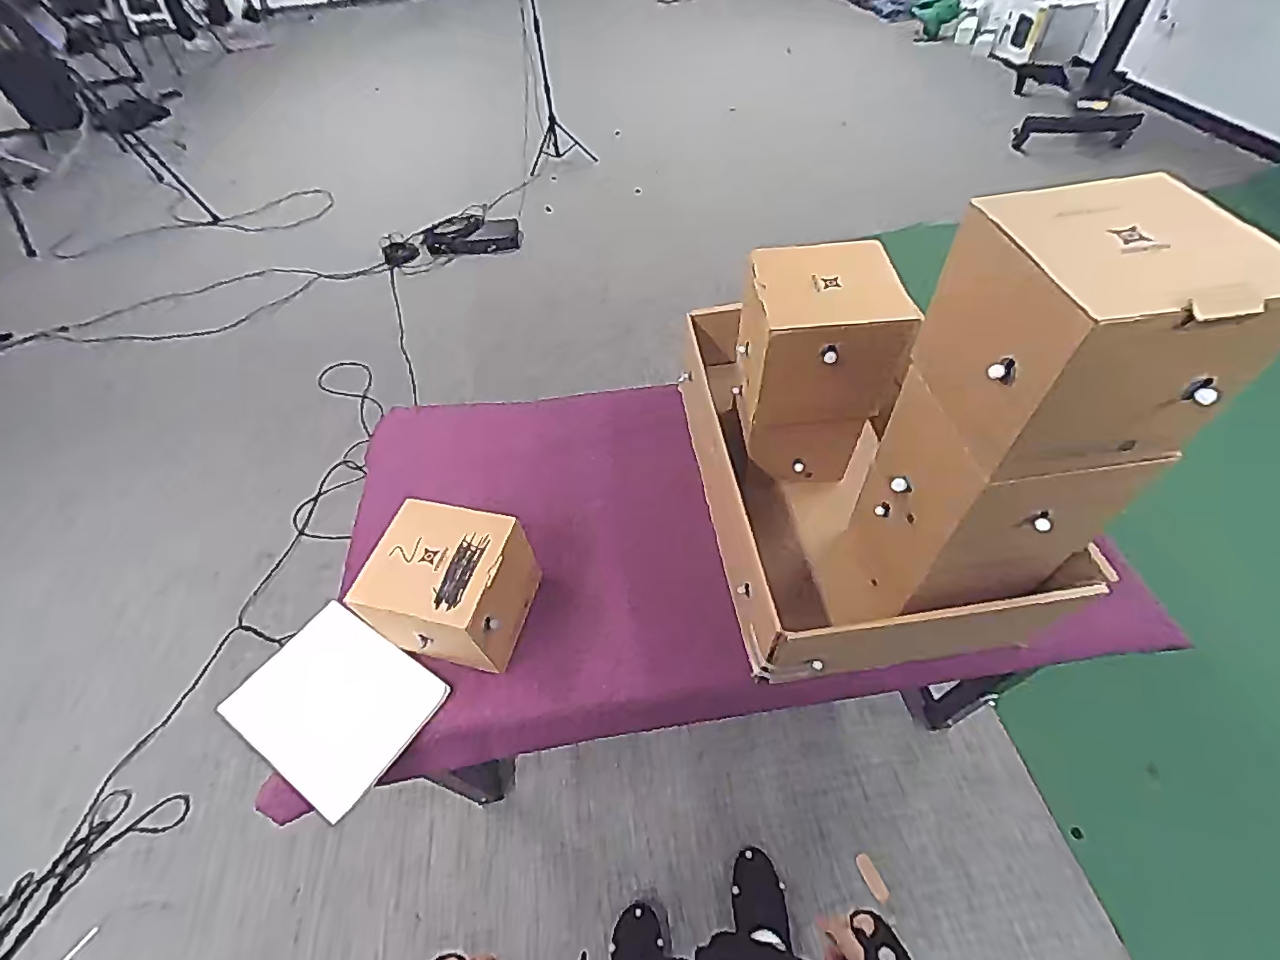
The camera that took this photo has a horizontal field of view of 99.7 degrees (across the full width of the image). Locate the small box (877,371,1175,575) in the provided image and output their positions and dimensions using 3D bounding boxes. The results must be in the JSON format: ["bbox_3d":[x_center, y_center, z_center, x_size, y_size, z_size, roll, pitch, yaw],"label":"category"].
[{"bbox_3d":[0.387,-0.014,0.586,0.179,0.176,0.168,-8,51,1],"label":"small box"}]

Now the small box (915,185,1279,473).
[{"bbox_3d":[0.370,-0.120,0.463,0.168,0.176,0.179,-7,50,1],"label":"small box"}]

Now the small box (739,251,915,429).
[{"bbox_3d":[0.239,-0.186,0.741,0.179,0.176,0.168,-4,54,3],"label":"small box"}]
